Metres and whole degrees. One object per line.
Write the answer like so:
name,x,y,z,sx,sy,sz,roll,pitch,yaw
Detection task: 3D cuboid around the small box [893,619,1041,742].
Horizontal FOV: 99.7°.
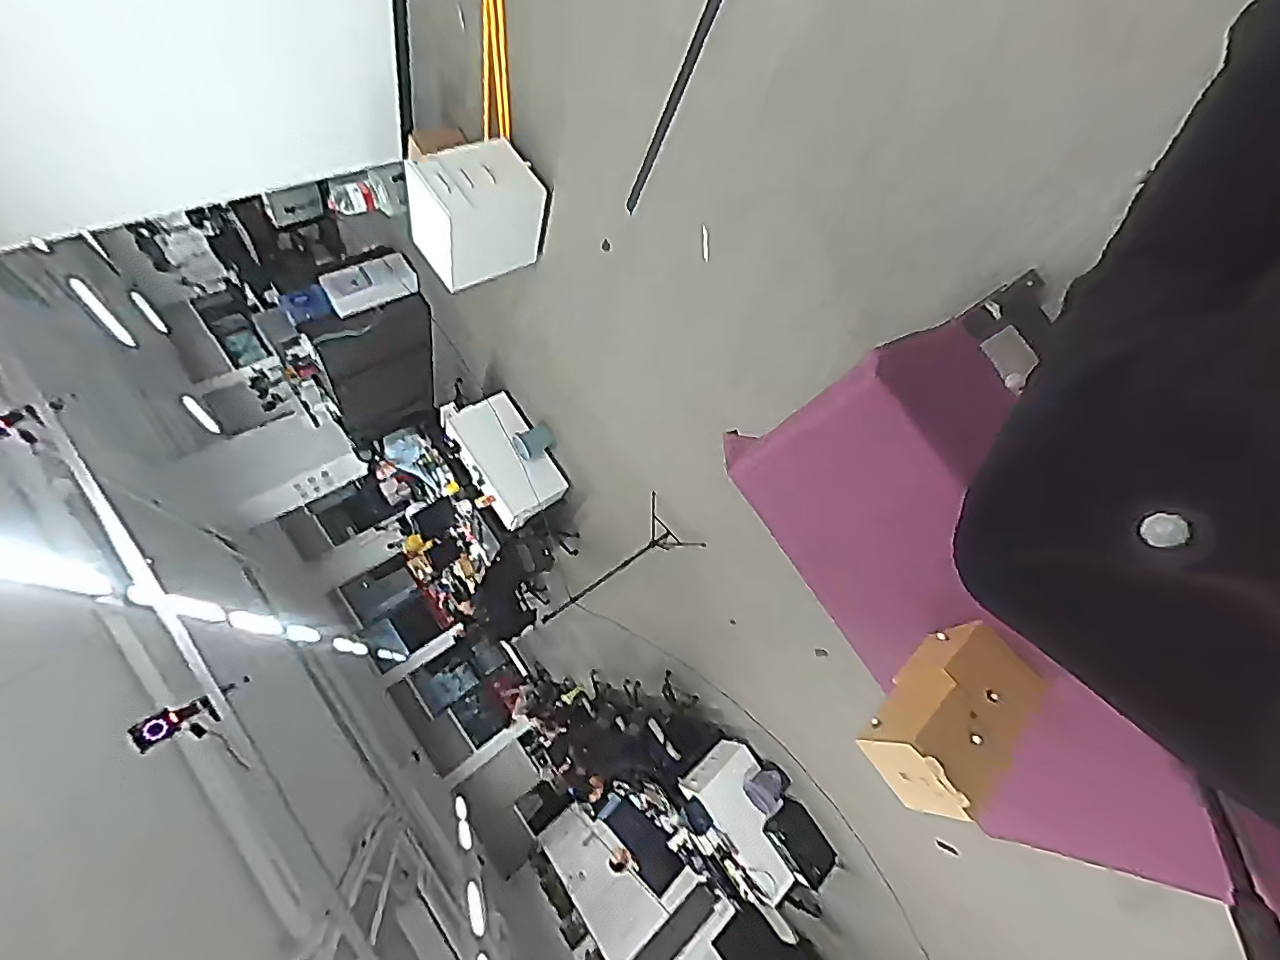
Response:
small box,0.692,0.426,1.145,0.179,0.176,0.168,51,153,14

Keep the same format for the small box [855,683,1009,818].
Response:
small box,0.578,0.526,1.076,0.168,0.176,0.179,52,153,8
